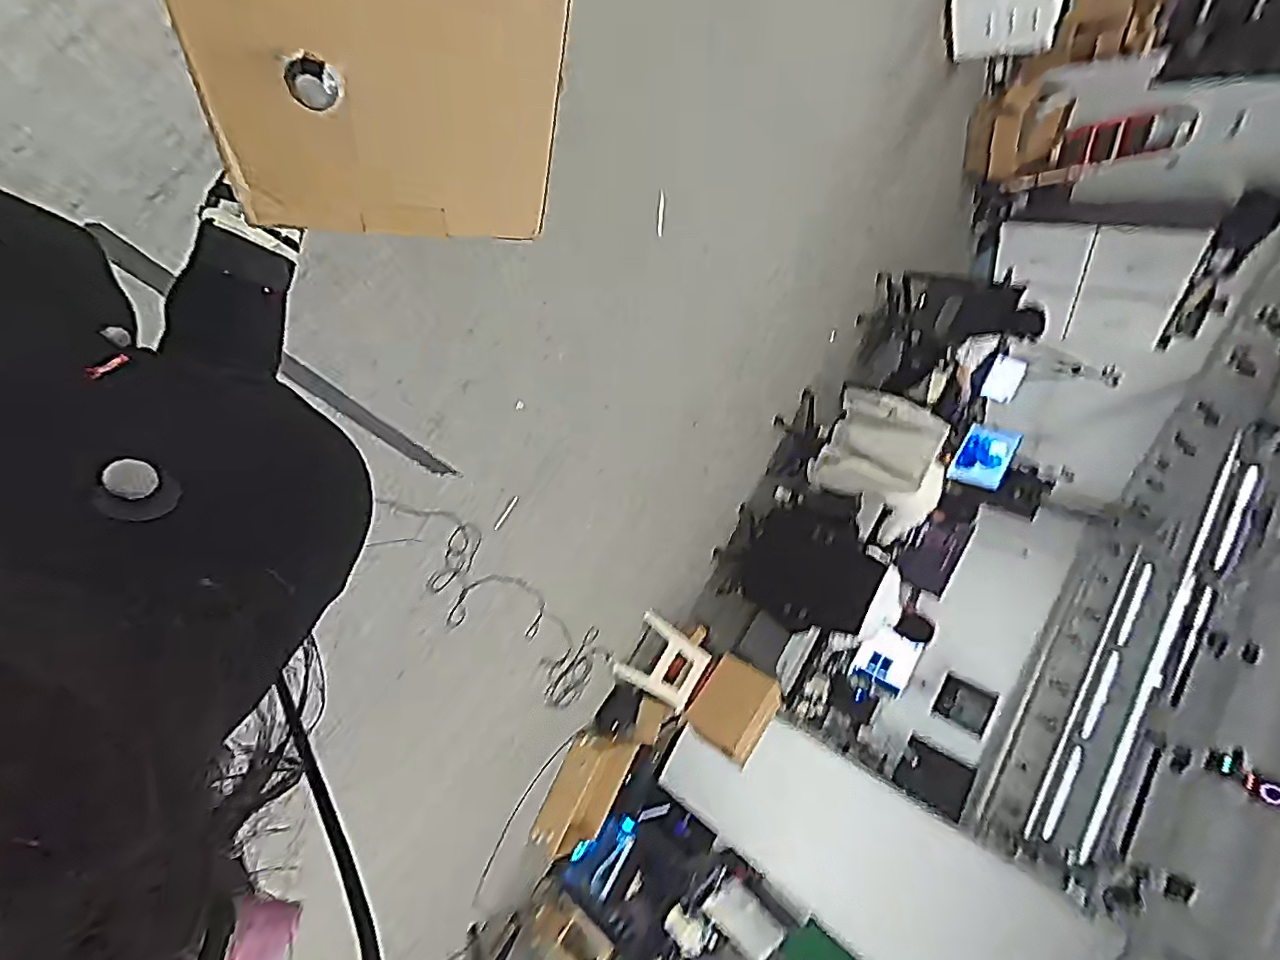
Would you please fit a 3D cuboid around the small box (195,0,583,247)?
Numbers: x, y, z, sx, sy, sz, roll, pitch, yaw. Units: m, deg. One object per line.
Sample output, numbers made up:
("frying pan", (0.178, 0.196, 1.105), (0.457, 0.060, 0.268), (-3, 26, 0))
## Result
("small box", (-0.136, -0.260, 0.298), (0.168, 0.179, 0.176), (-5, 148, -25))
